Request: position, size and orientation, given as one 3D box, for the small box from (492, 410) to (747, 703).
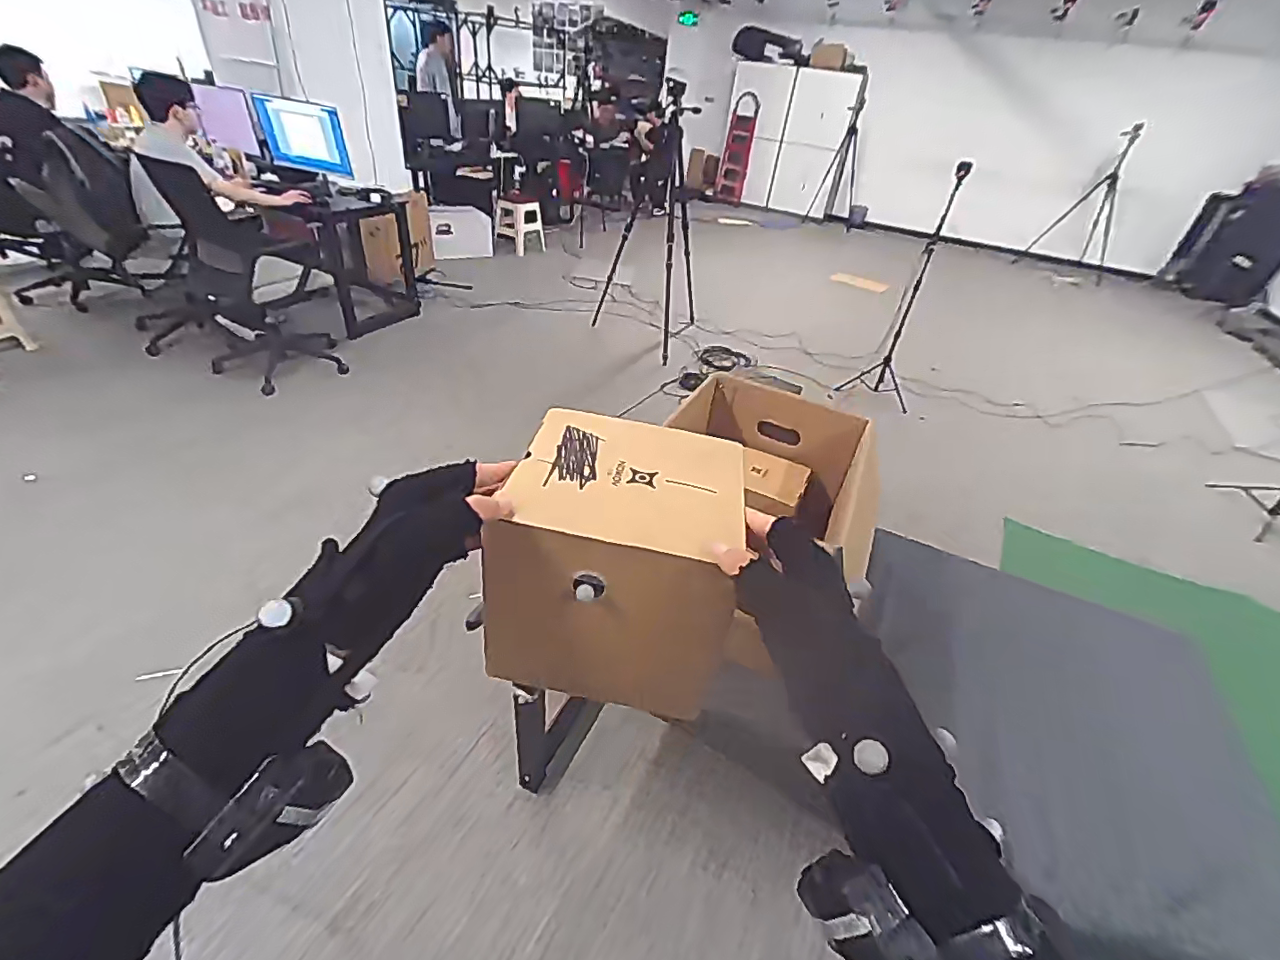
[{"bbox_3d":[-0.015,0.063,0.464,0.179,0.176,0.168,12,34,2],"label":"small box"}]
